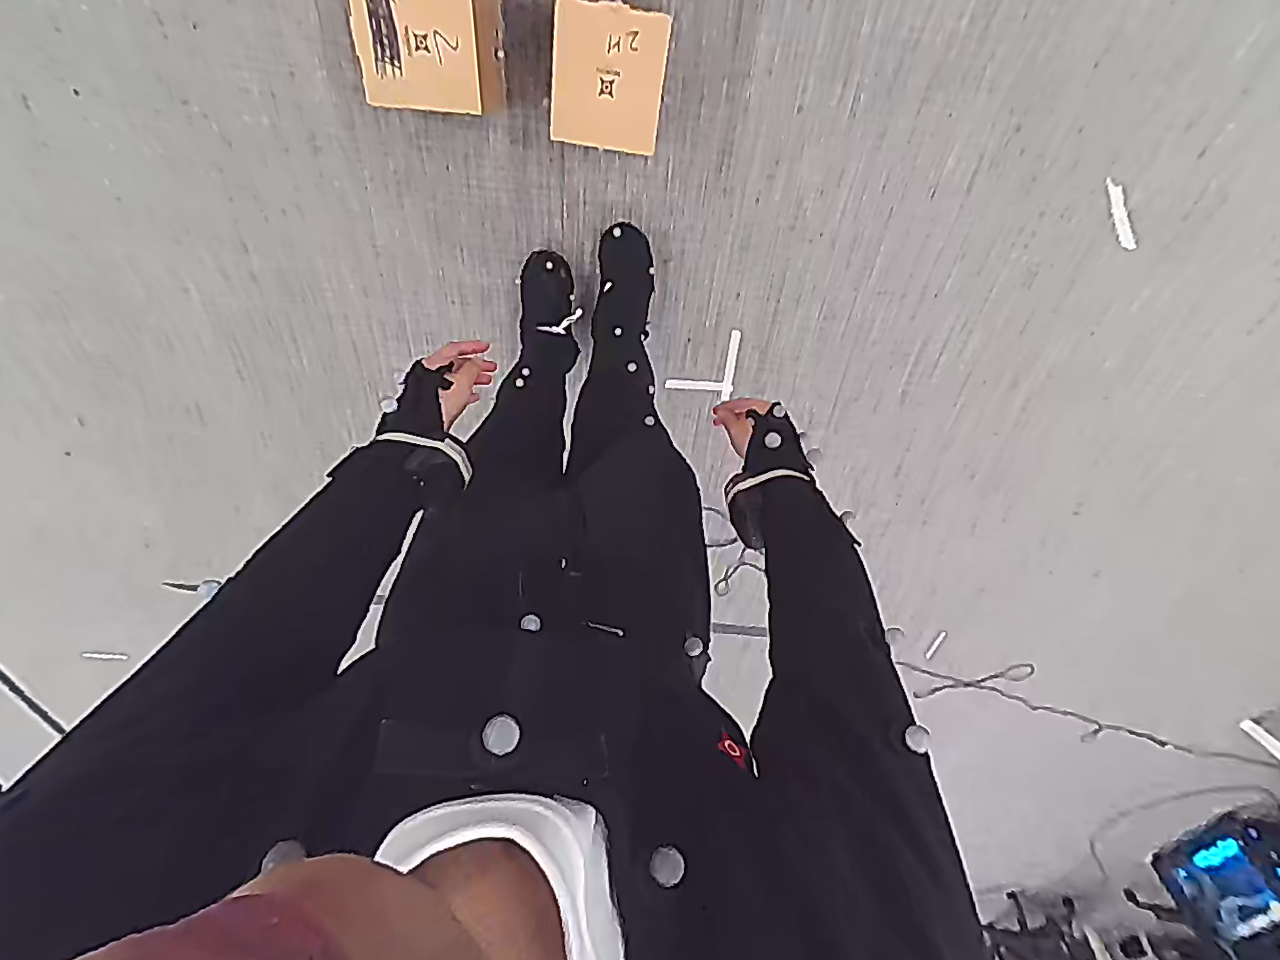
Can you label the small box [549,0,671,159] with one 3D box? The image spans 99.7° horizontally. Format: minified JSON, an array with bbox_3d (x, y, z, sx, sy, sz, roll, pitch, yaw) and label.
[{"bbox_3d":[-0.048,-0.637,0.864,0.168,0.176,0.179,7,126,-6],"label":"small box"}]
